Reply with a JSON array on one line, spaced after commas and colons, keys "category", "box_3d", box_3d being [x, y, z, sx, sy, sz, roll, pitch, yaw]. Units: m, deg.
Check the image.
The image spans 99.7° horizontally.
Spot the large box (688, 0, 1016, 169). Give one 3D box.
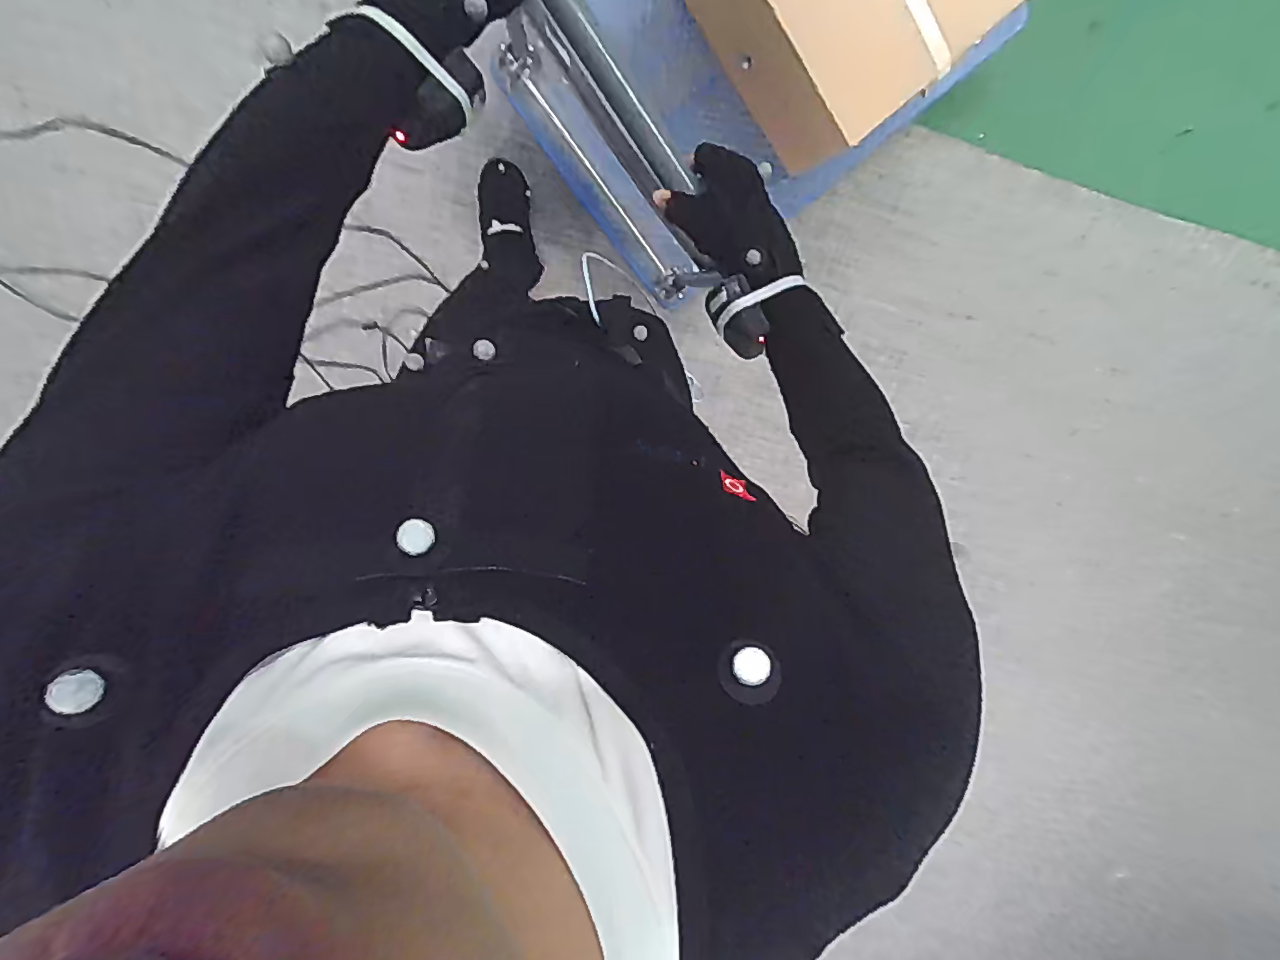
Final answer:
[{"category": "large box", "box_3d": [0.308, -0.797, 0.866, 0.320, 0.320, 0.408, -38, 109, 12]}]
